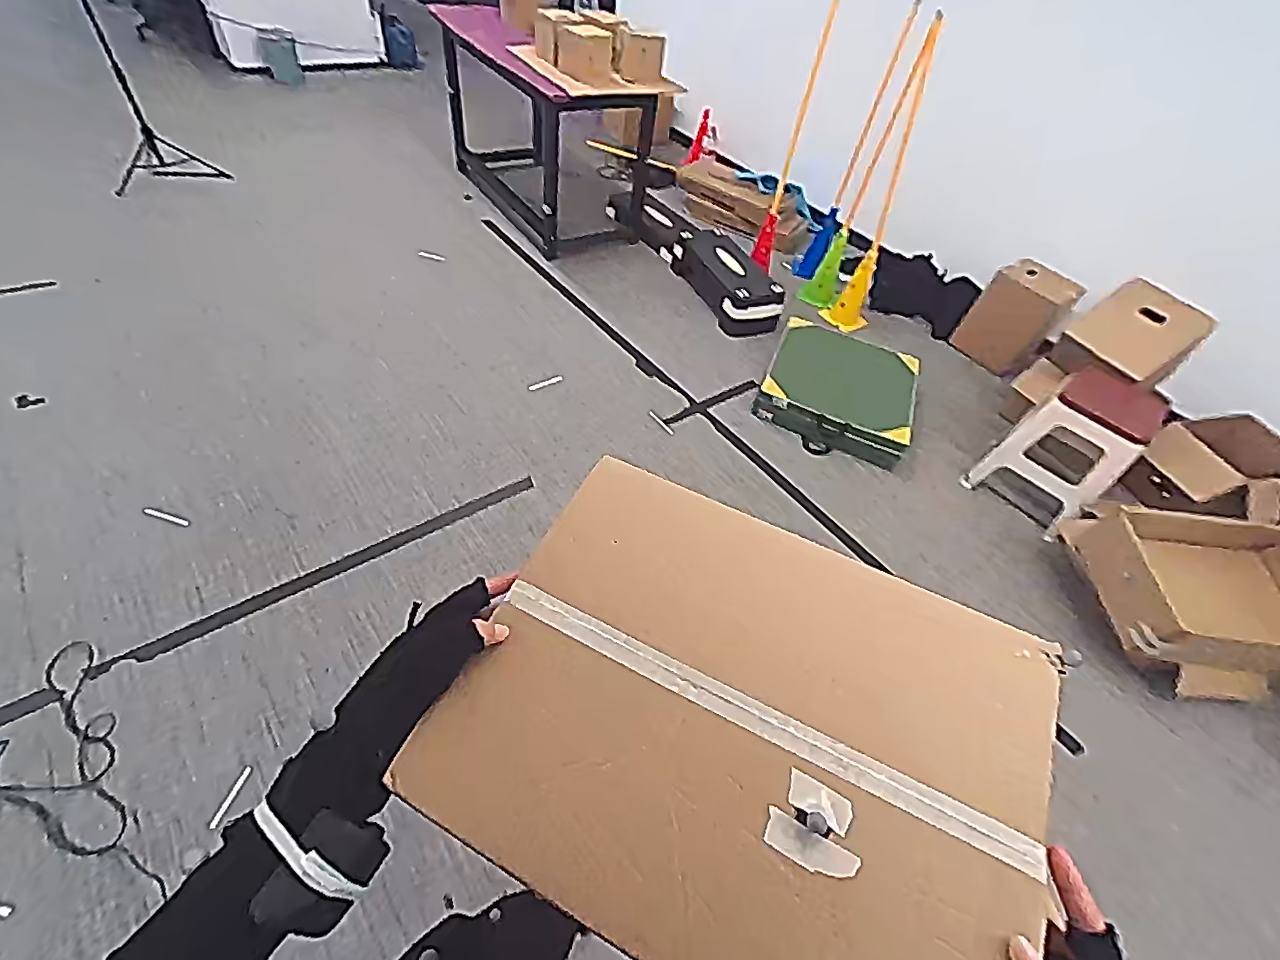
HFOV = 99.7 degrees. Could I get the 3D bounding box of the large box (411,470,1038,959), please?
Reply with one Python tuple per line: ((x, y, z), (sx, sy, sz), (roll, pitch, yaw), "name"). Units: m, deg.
((0.076, 0.256, 0.533), (0.408, 0.320, 0.320), (24, 60, 15), "large box")
